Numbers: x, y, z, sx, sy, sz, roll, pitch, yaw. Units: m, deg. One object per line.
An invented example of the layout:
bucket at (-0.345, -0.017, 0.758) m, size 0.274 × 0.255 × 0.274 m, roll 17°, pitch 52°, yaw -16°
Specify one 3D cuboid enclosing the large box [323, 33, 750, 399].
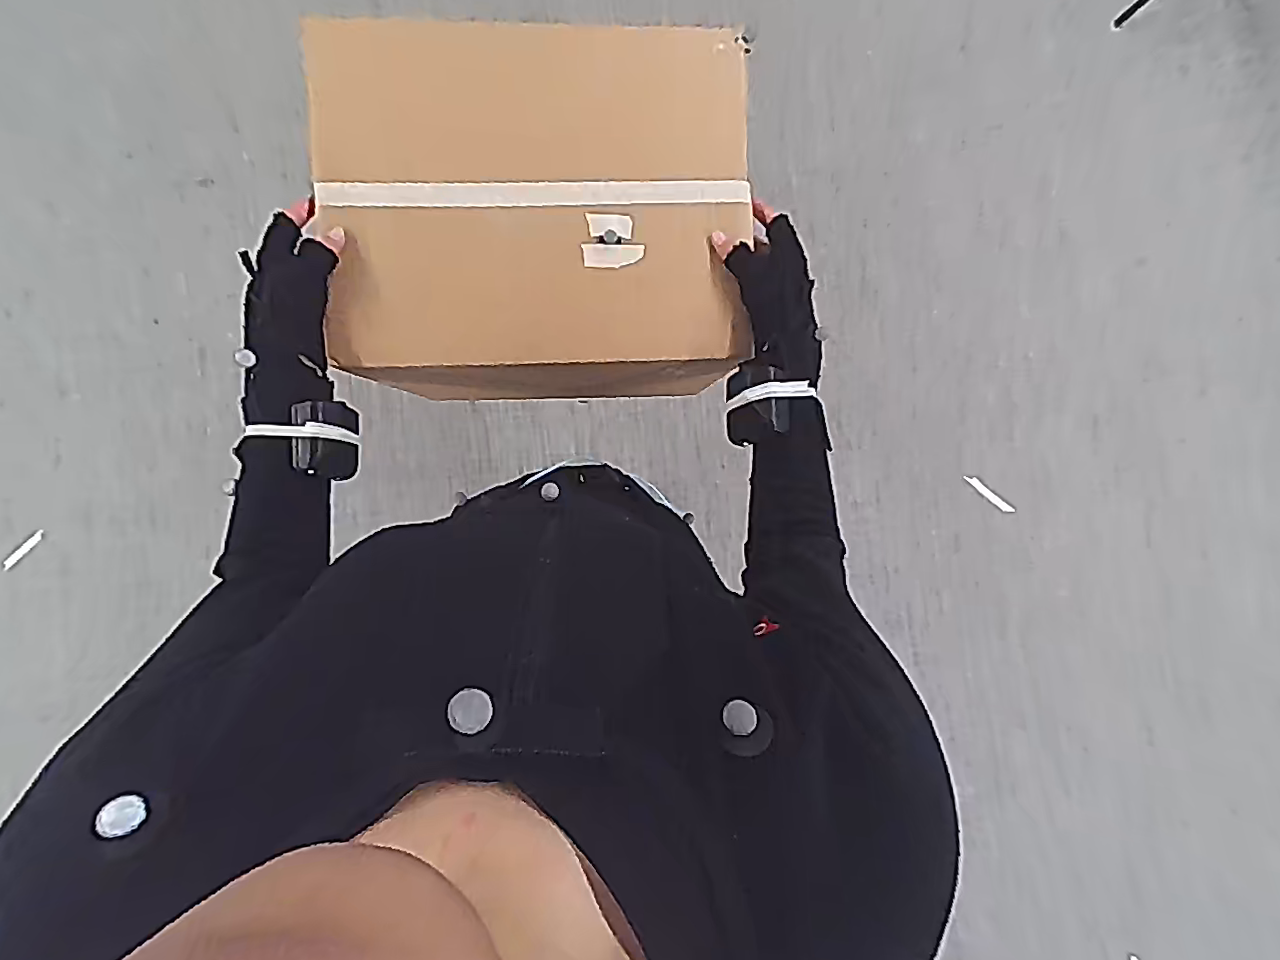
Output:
large box at (-0.106, -0.278, 0.672) m, size 0.408 × 0.320 × 0.320 m, roll -2°, pitch 93°, yaw -5°
